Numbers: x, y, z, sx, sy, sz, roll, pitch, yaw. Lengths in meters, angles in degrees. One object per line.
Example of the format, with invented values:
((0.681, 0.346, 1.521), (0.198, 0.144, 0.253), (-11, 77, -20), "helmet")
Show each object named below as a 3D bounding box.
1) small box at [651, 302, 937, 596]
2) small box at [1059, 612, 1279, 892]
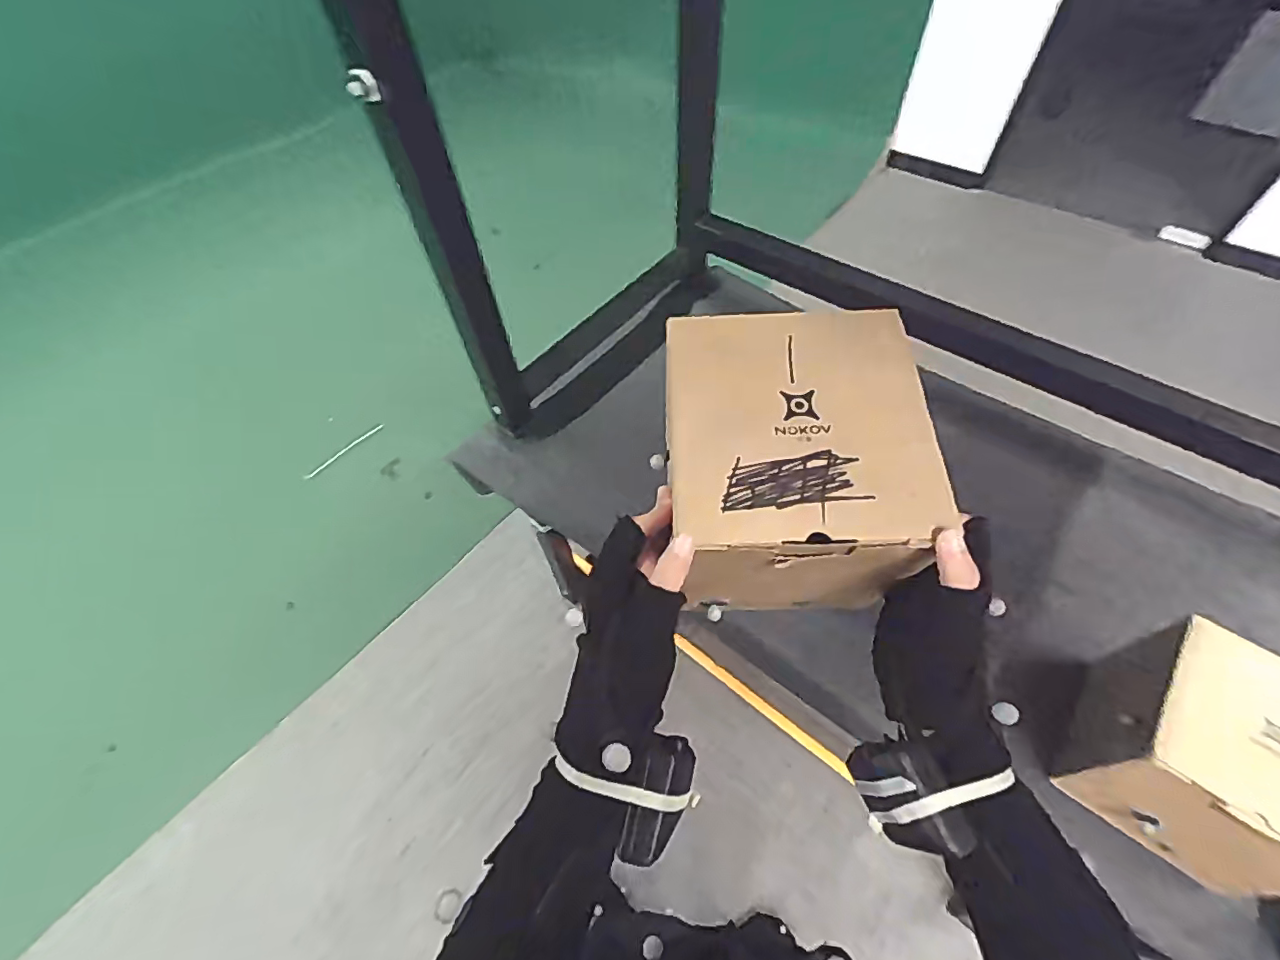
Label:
((0.094, -0.011, 0.420), (0.168, 0.176, 0.179), (-2, 64, 2), "small box")
((0.577, 0.274, 0.549), (0.168, 0.176, 0.179), (33, 64, 24), "small box")
